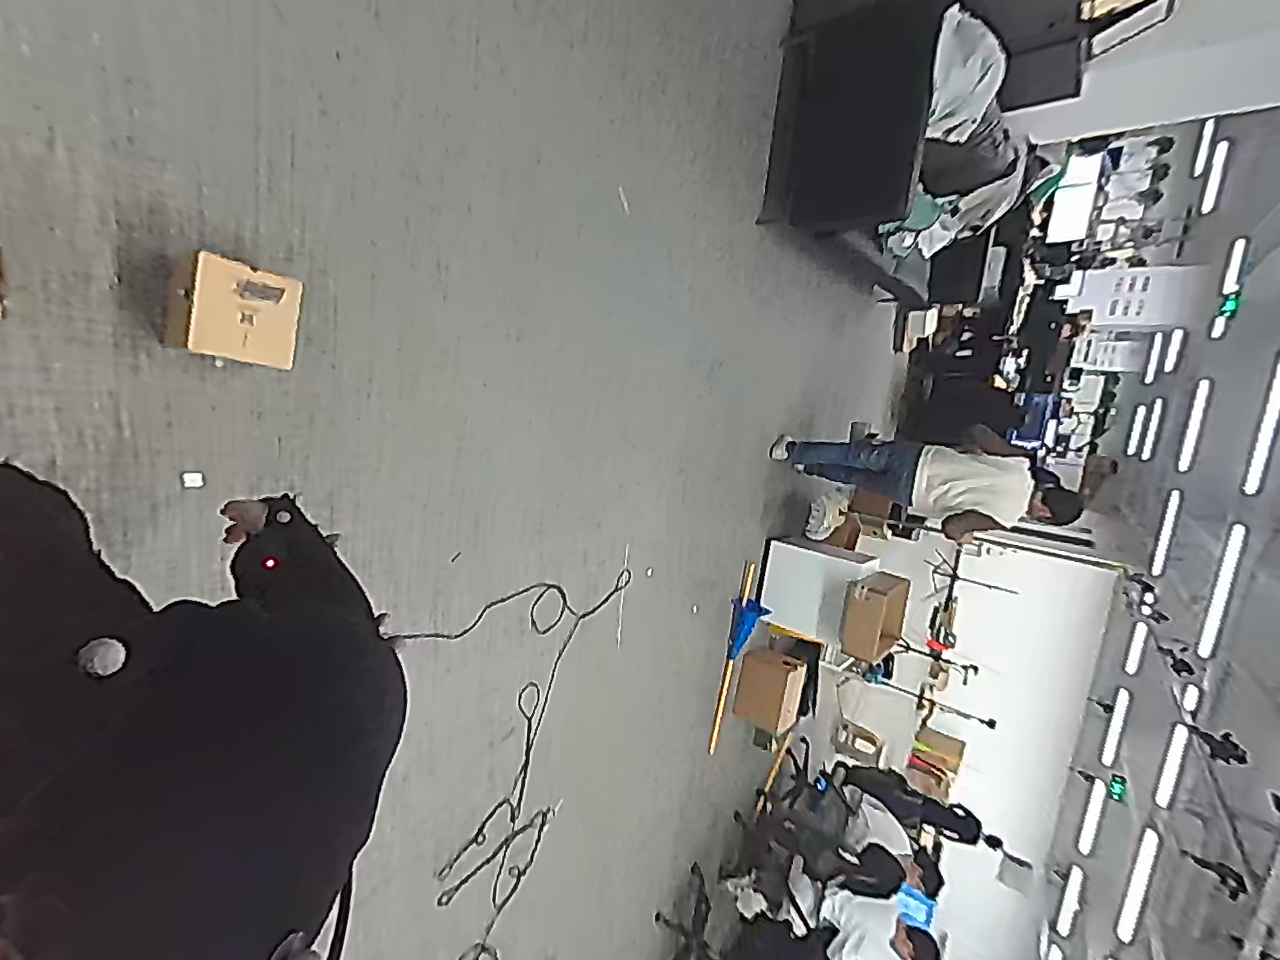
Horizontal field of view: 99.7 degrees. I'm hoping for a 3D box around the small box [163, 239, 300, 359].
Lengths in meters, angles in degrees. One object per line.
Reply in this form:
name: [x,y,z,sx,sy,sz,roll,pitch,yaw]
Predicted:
small box: [-0.791,-0.343,1.045,0.168,0.176,0.179,4,99,-53]
